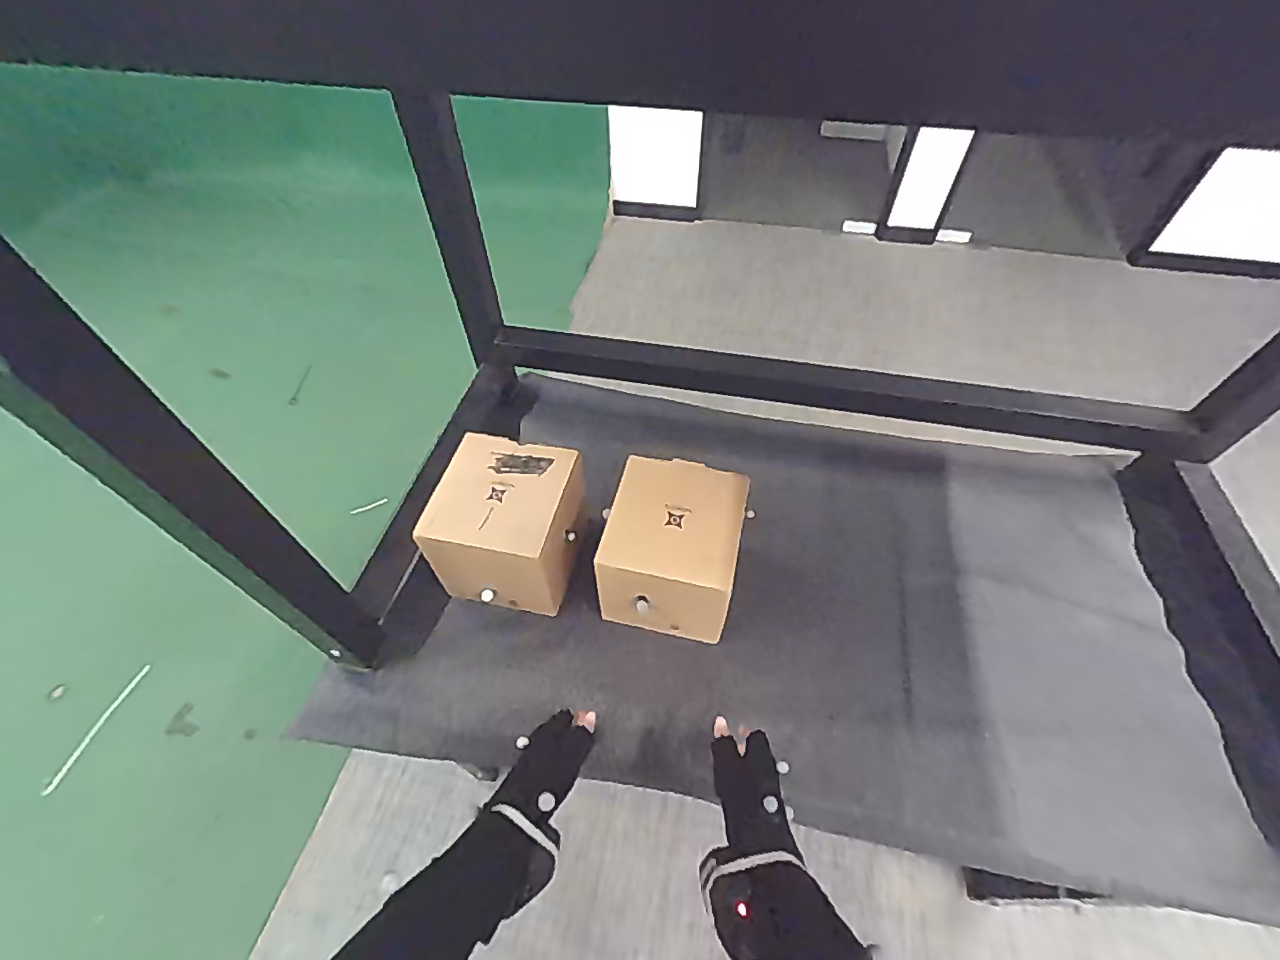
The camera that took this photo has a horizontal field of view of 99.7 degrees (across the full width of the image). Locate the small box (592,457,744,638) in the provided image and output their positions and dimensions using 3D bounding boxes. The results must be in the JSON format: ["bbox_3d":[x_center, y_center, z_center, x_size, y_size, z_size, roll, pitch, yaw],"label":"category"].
[{"bbox_3d":[0.042,0.097,0.747,0.168,0.176,0.179,10,52,8],"label":"small box"}]

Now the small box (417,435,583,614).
[{"bbox_3d":[-0.182,0.064,0.770,0.168,0.176,0.179,9,53,7],"label":"small box"}]
